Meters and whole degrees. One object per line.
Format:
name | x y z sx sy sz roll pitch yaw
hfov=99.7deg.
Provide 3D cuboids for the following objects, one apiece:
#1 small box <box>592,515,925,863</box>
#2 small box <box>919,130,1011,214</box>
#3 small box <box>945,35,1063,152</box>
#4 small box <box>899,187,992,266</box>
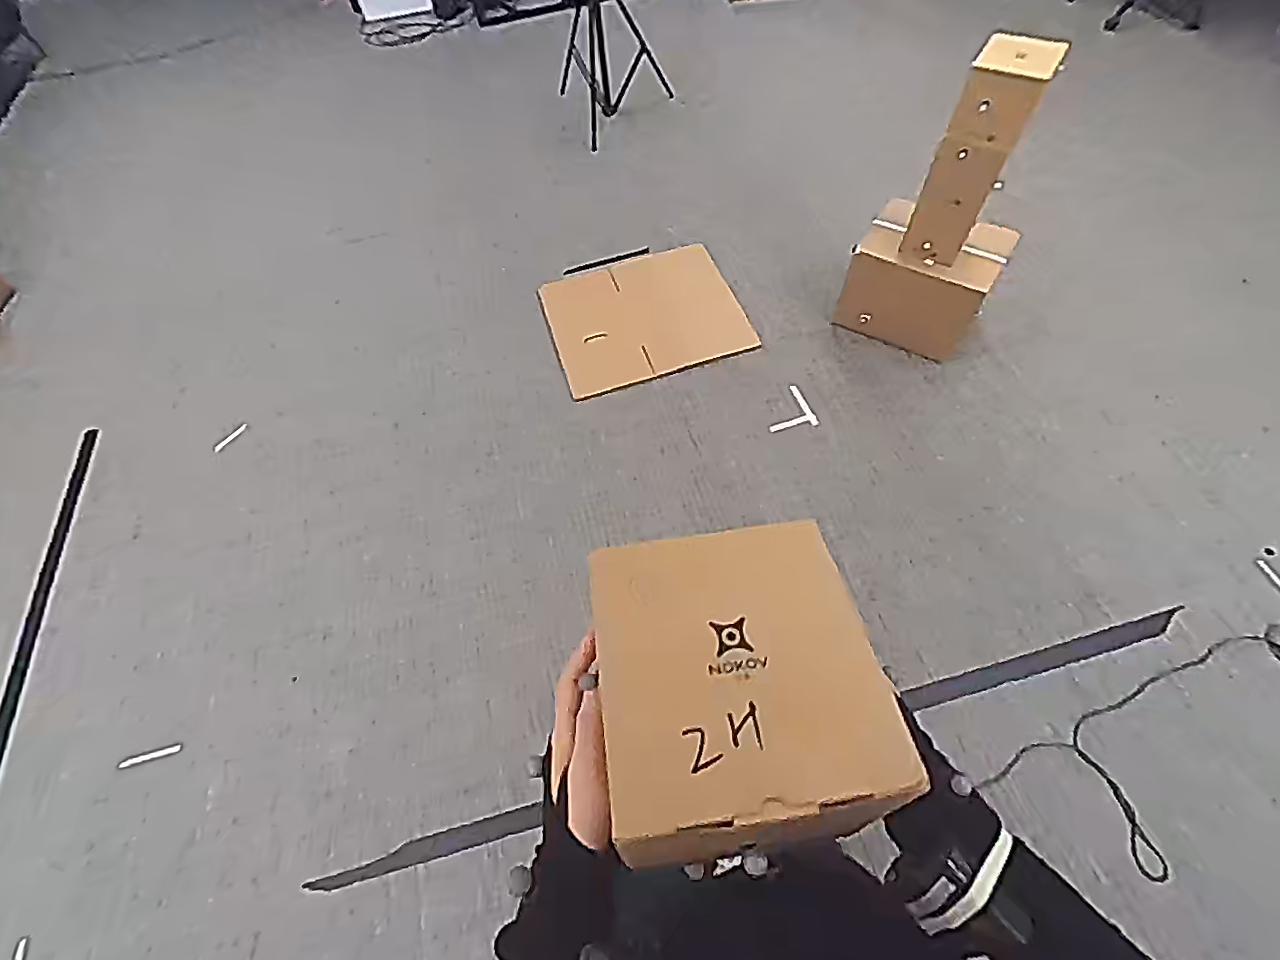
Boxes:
small box | 0.060 0.151 0.388 0.168 0.176 0.179 -8 50 -3
small box | 0.884 -0.858 1.458 0.168 0.176 0.179 28 66 19
small box | 0.873 -0.935 1.315 0.168 0.176 0.179 28 66 19
small box | 0.894 -0.774 1.599 0.168 0.176 0.179 28 67 19
